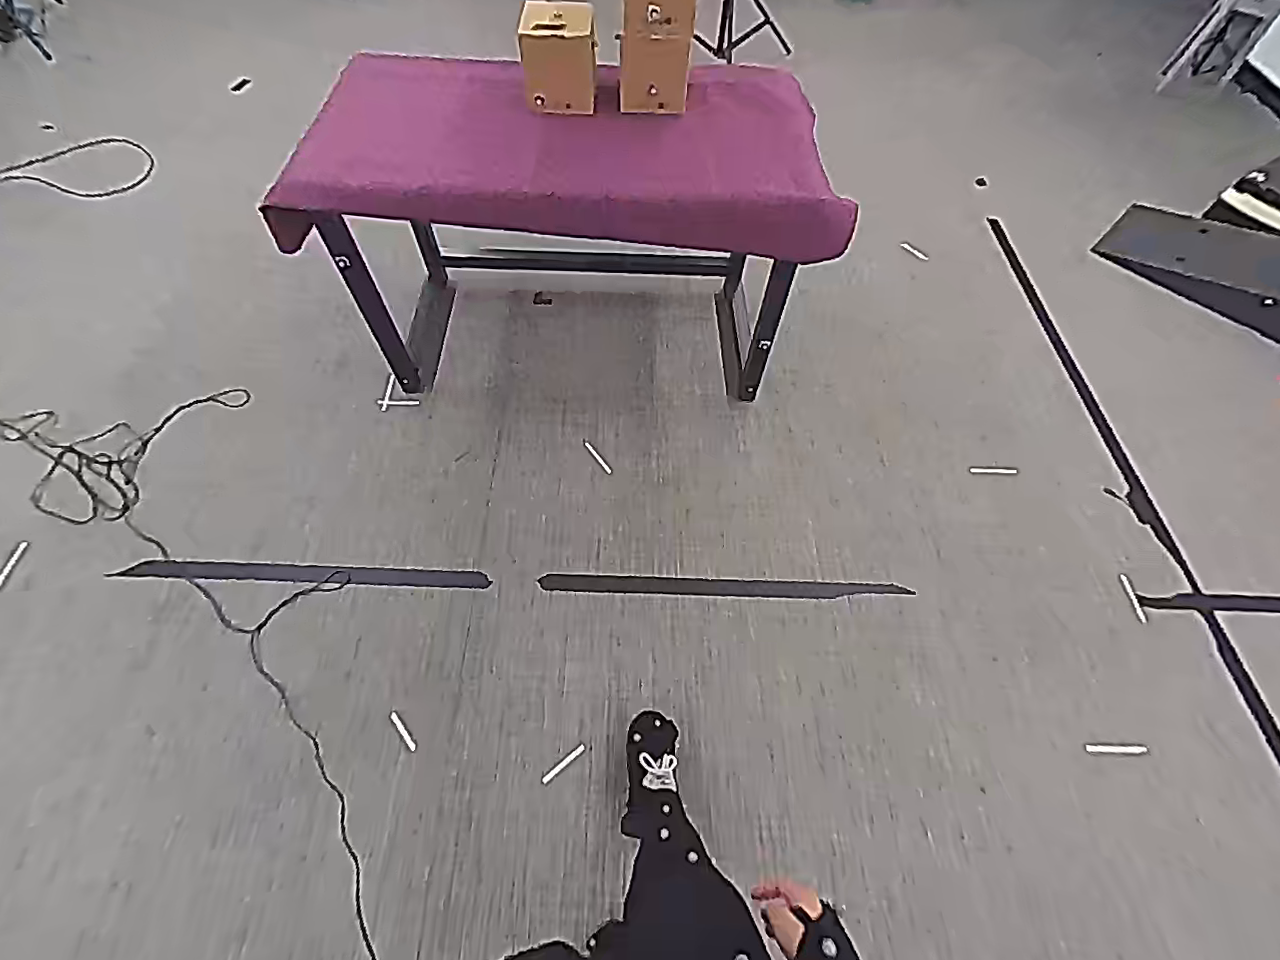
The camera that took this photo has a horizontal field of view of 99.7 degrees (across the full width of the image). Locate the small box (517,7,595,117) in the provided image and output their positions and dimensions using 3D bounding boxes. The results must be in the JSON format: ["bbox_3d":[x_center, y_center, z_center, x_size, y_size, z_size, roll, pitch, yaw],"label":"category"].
[{"bbox_3d":[-0.199,-1.030,1.337,0.168,0.176,0.179,1,60,-2],"label":"small box"}]

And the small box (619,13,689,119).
[{"bbox_3d":[0.032,-1.042,1.353,0.168,0.176,0.179,1,60,-1],"label":"small box"}]

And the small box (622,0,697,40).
[{"bbox_3d":[0.043,-1.127,1.215,0.168,0.176,0.179,-1,61,-2],"label":"small box"}]
